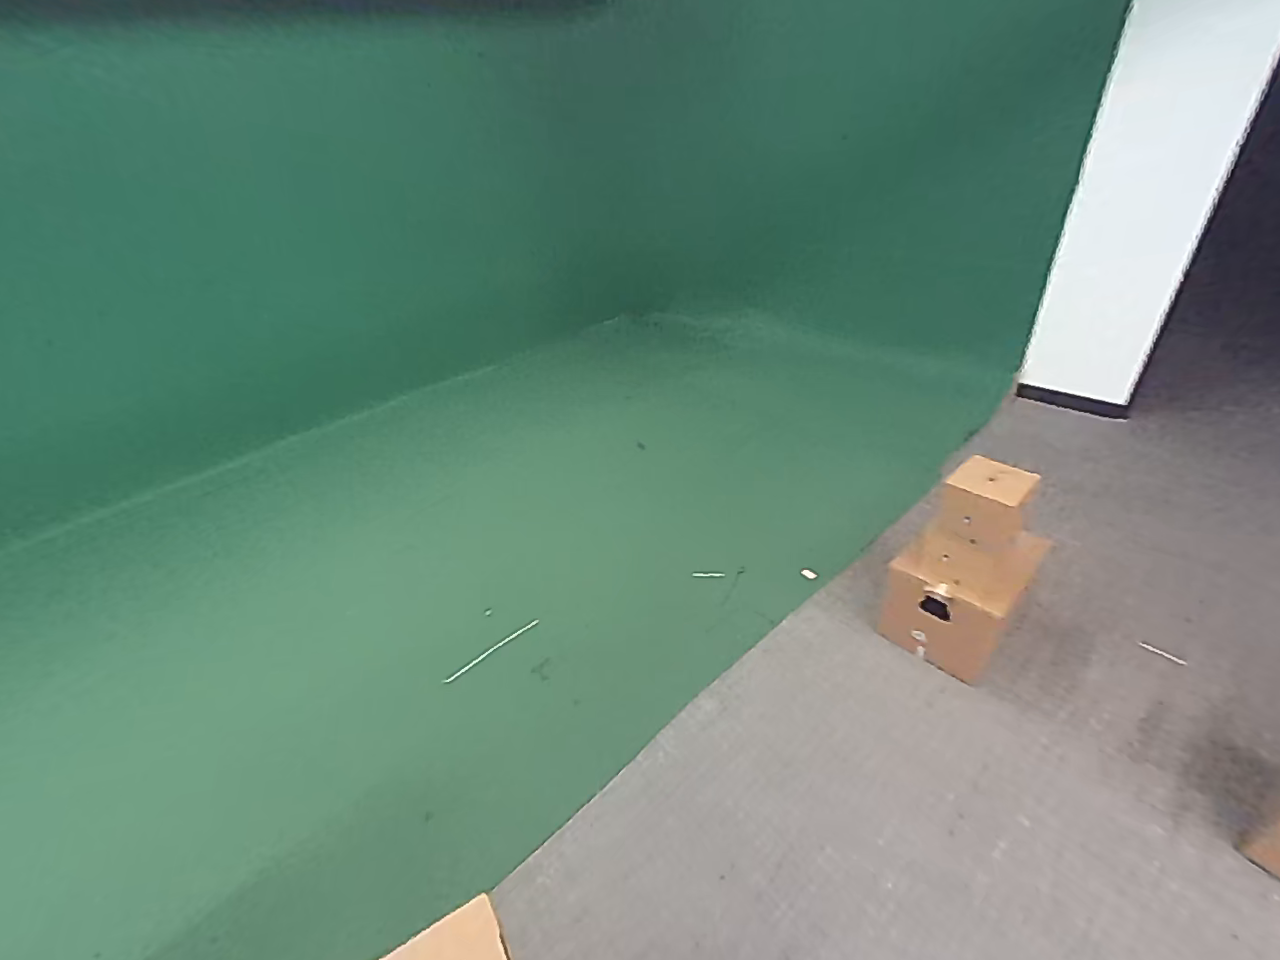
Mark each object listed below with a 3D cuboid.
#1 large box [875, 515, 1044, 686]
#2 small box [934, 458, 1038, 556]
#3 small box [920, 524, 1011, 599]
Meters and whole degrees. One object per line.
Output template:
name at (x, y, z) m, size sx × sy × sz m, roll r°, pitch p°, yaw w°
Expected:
large box at (1.005, 0.359, 1.722) m, size 0.408 × 0.320 × 0.320 m, roll -31°, pitch 41°, yaw -31°
small box at (0.908, 0.072, 1.433) m, size 0.179 × 0.176 × 0.168 m, roll -29°, pitch 40°, yaw -29°
small box at (0.921, 0.203, 1.533) m, size 0.179 × 0.176 × 0.168 m, roll -29°, pitch 40°, yaw -29°
